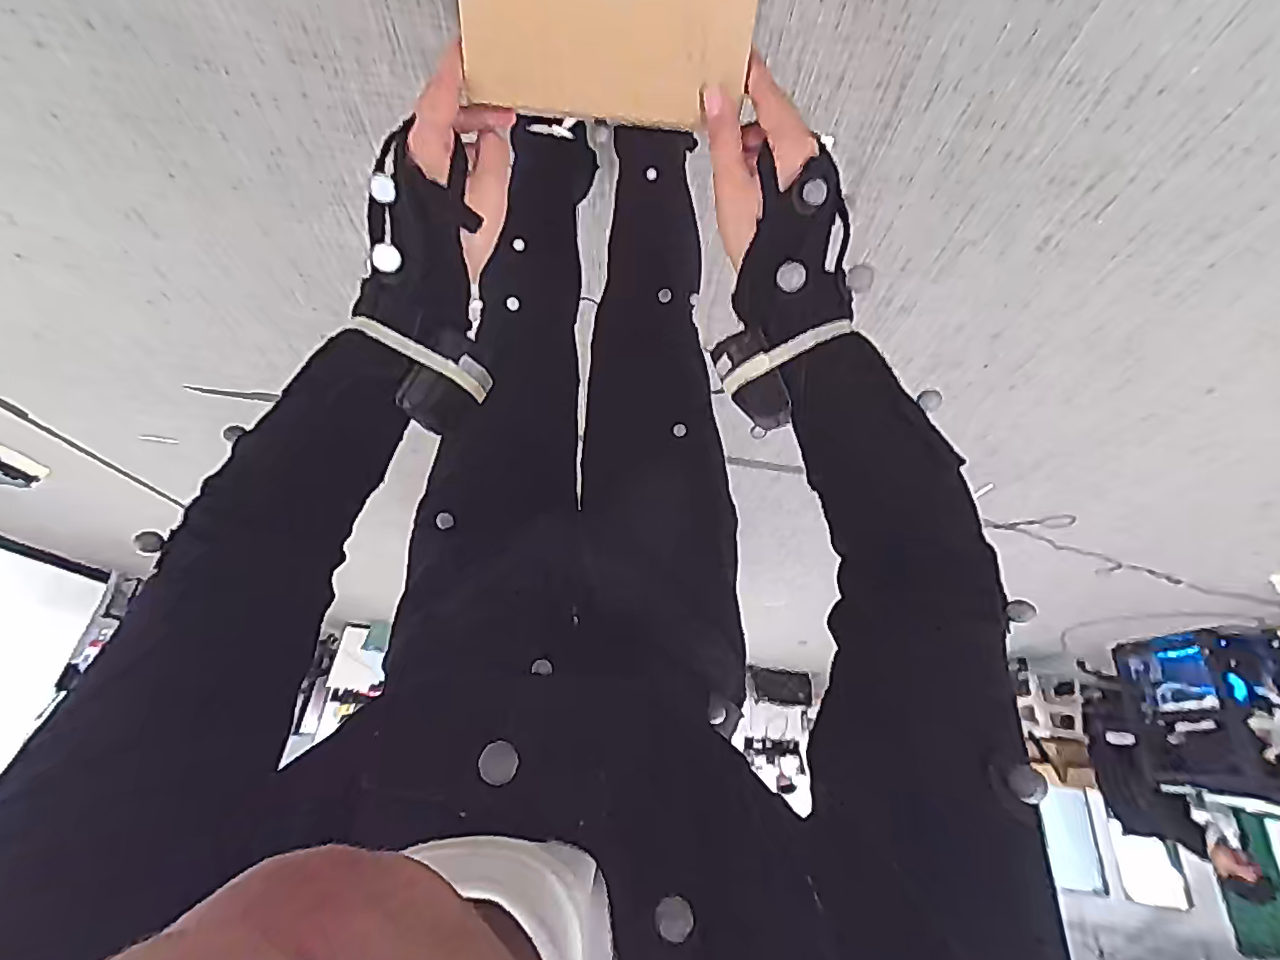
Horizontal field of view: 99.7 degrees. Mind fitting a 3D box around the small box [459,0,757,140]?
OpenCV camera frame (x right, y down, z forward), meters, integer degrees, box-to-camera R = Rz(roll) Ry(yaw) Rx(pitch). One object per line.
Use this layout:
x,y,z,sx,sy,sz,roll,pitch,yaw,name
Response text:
-0.014,-0.330,0.346,0.168,0.176,0.179,4,122,-4,small box
